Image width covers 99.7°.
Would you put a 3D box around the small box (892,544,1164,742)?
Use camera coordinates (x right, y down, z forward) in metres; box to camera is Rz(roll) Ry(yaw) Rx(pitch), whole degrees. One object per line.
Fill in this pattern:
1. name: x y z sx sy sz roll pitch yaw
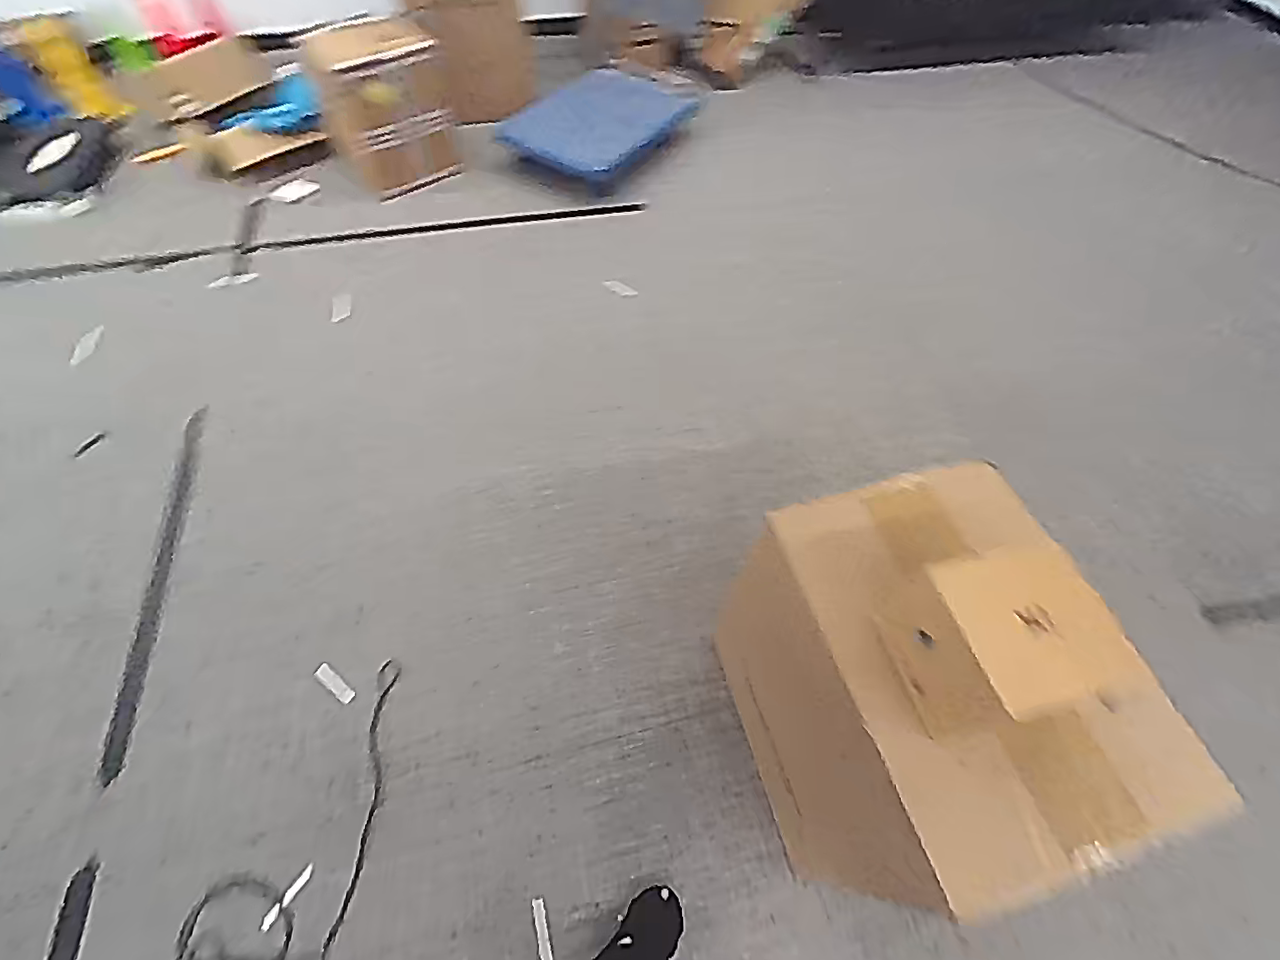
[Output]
1. small box: 0.432 0.199 0.647 0.179 0.176 0.168 -9 57 -9
